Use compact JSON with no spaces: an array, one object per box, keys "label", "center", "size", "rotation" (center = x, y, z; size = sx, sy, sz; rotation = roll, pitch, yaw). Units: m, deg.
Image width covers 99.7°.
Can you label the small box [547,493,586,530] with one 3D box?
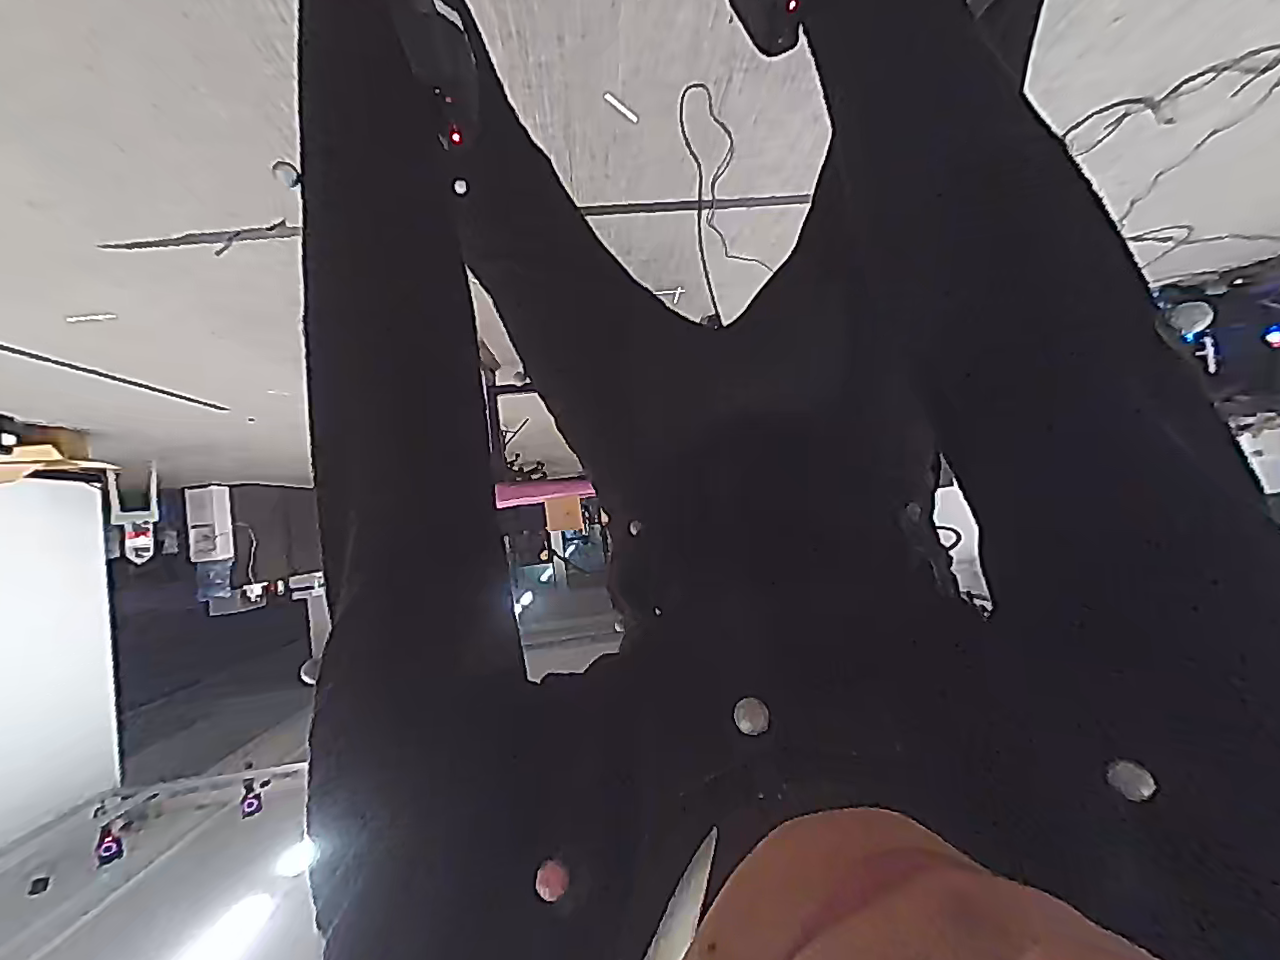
[{"label":"small box","center":[-0.375,0.162,2.781],"size":[0.179,0.176,0.168],"rotation":[-8,174,-6]}]
